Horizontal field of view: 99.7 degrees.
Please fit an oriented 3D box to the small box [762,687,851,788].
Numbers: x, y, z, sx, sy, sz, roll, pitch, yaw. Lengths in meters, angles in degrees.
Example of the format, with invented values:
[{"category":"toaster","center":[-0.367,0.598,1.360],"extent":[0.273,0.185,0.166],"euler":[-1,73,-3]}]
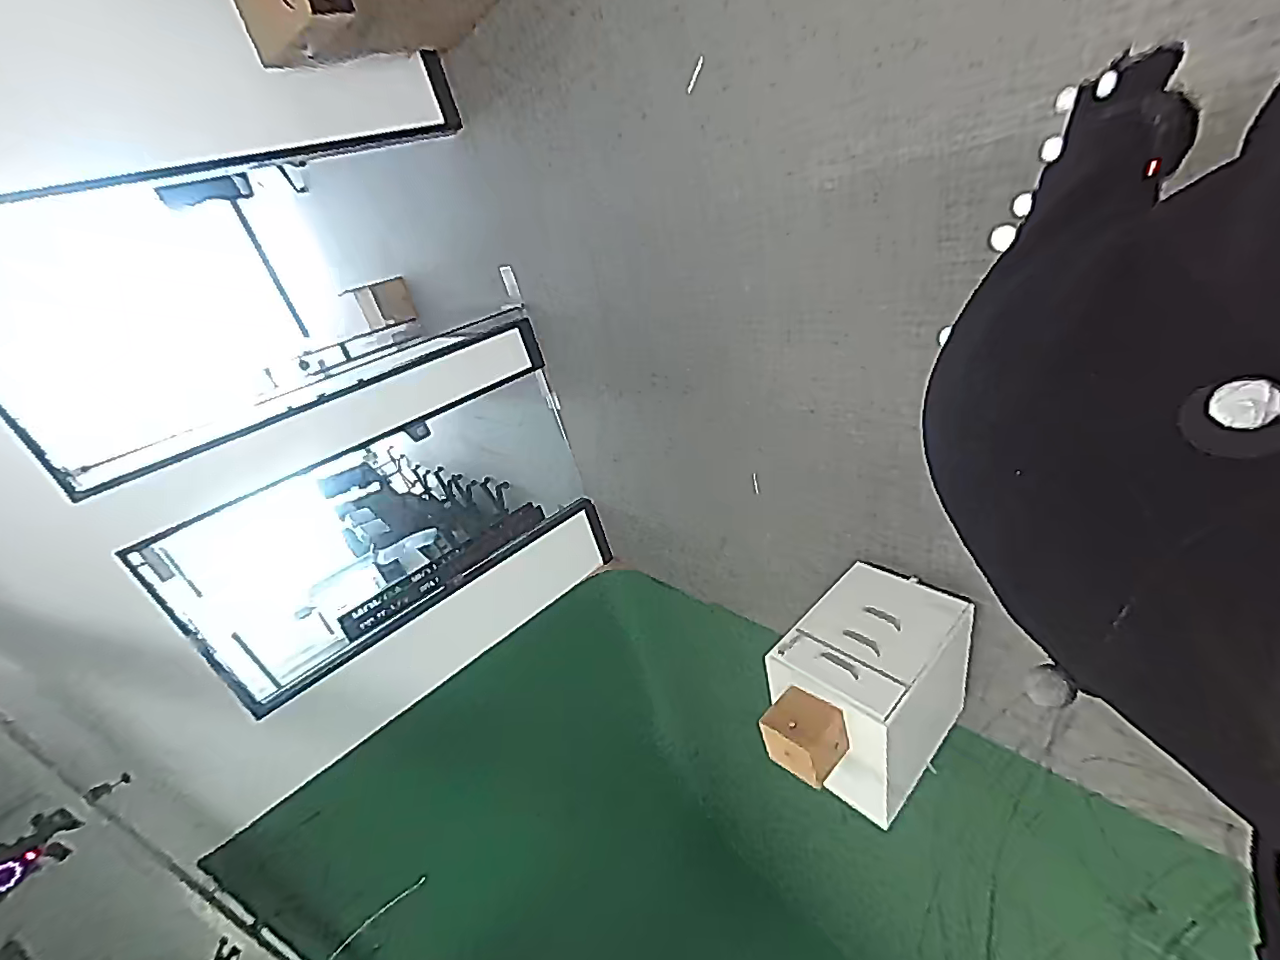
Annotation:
[{"category":"small box","center":[0.489,0.743,1.586],"extent":[0.179,0.176,0.168],"euler":[13,128,51]}]
